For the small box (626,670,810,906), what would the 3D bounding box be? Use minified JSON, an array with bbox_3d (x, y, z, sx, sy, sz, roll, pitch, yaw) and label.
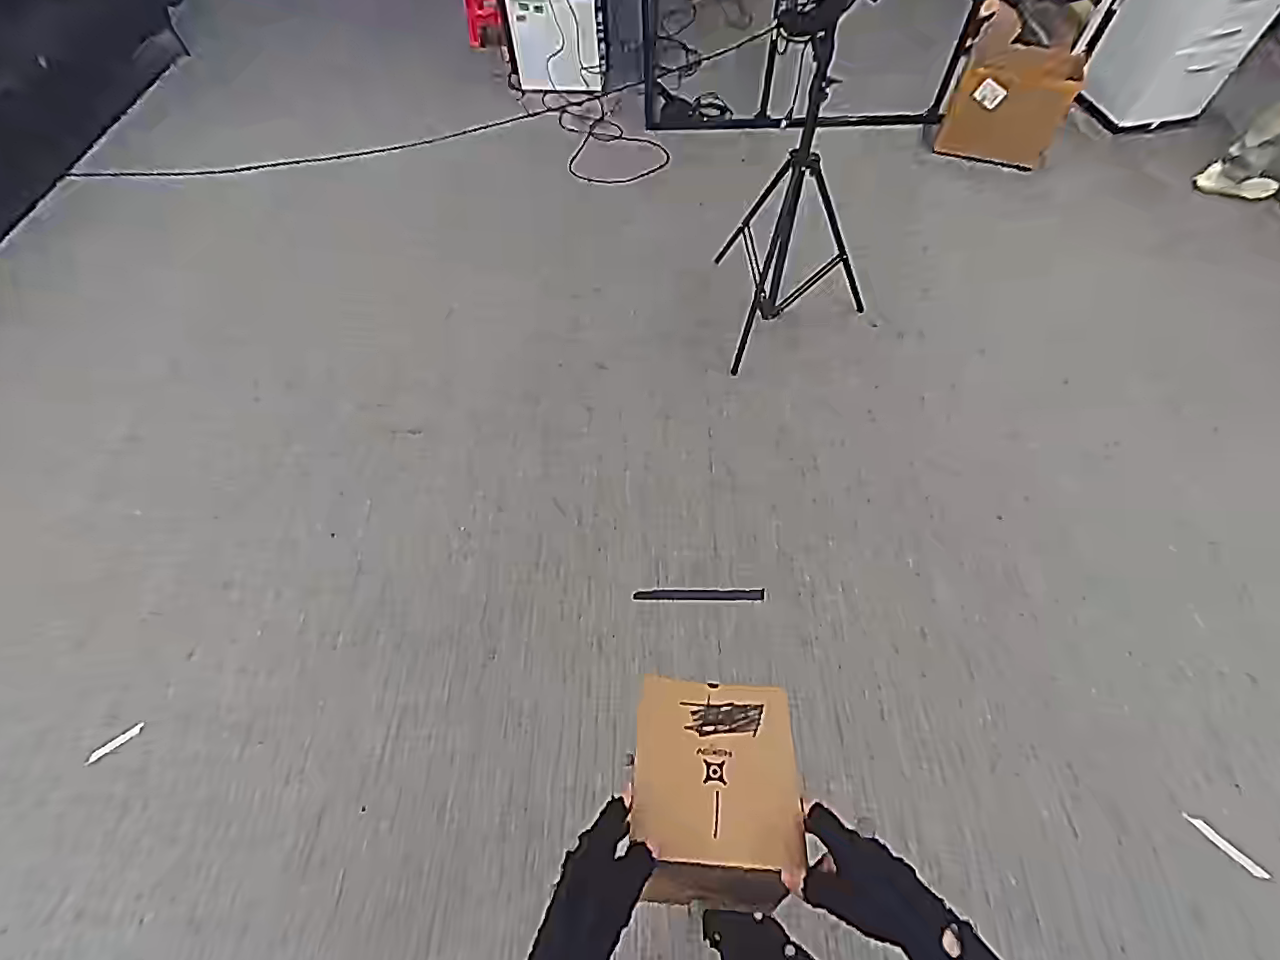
[{"bbox_3d":[0.073,0.338,0.598,0.168,0.176,0.179,4,42,2],"label":"small box"}]
